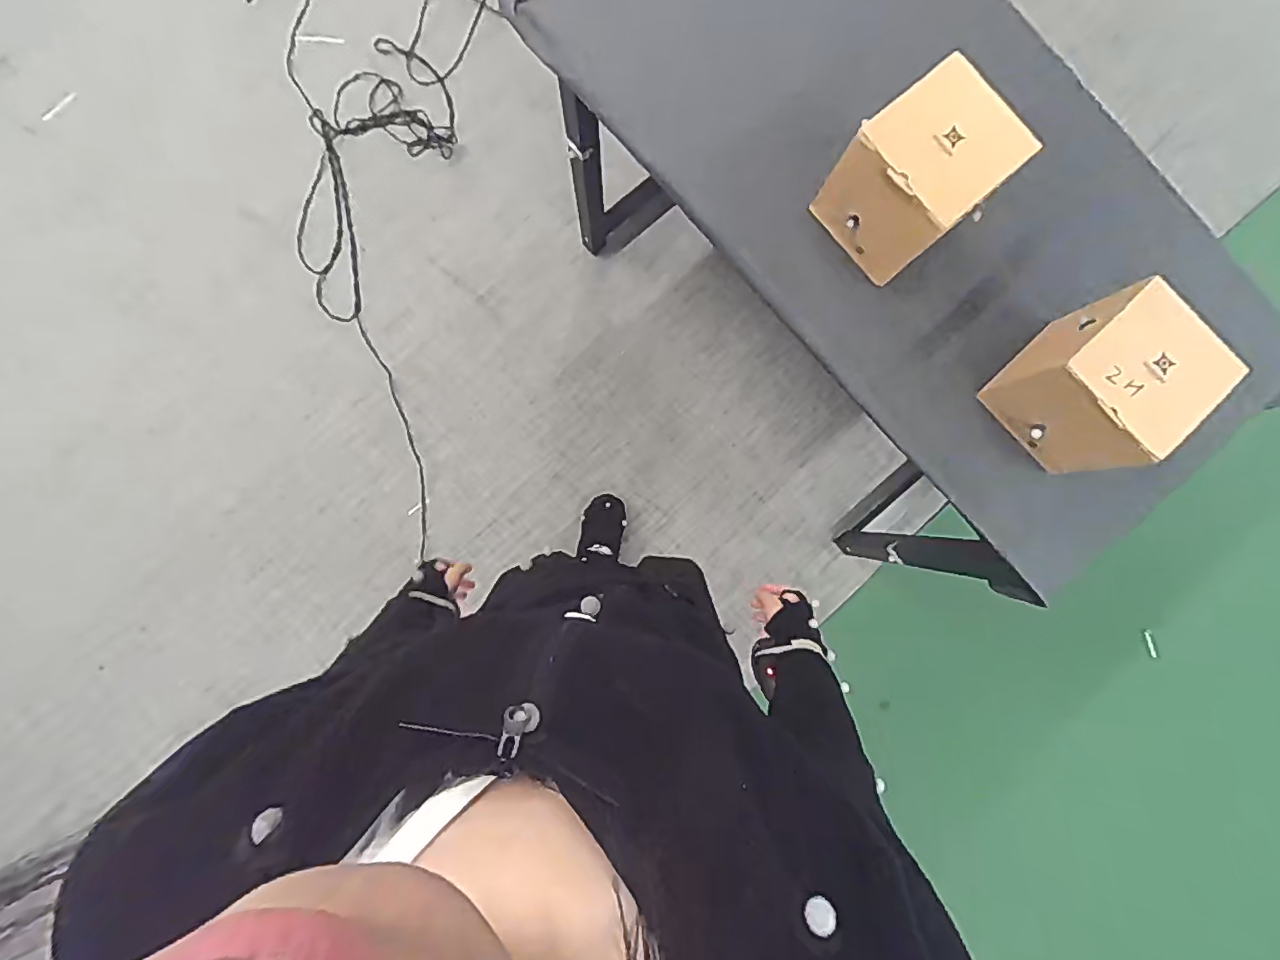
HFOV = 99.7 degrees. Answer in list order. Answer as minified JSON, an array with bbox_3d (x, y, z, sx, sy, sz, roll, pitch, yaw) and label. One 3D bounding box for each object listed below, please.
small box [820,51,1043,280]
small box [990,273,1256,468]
[{"bbox_3d":[0.386,-0.419,0.751,0.179,0.176,0.168,-41,89,-4],"label":"small box"},{"bbox_3d":[0.635,-0.135,0.737,0.179,0.176,0.168,-42,87,-4],"label":"small box"}]
